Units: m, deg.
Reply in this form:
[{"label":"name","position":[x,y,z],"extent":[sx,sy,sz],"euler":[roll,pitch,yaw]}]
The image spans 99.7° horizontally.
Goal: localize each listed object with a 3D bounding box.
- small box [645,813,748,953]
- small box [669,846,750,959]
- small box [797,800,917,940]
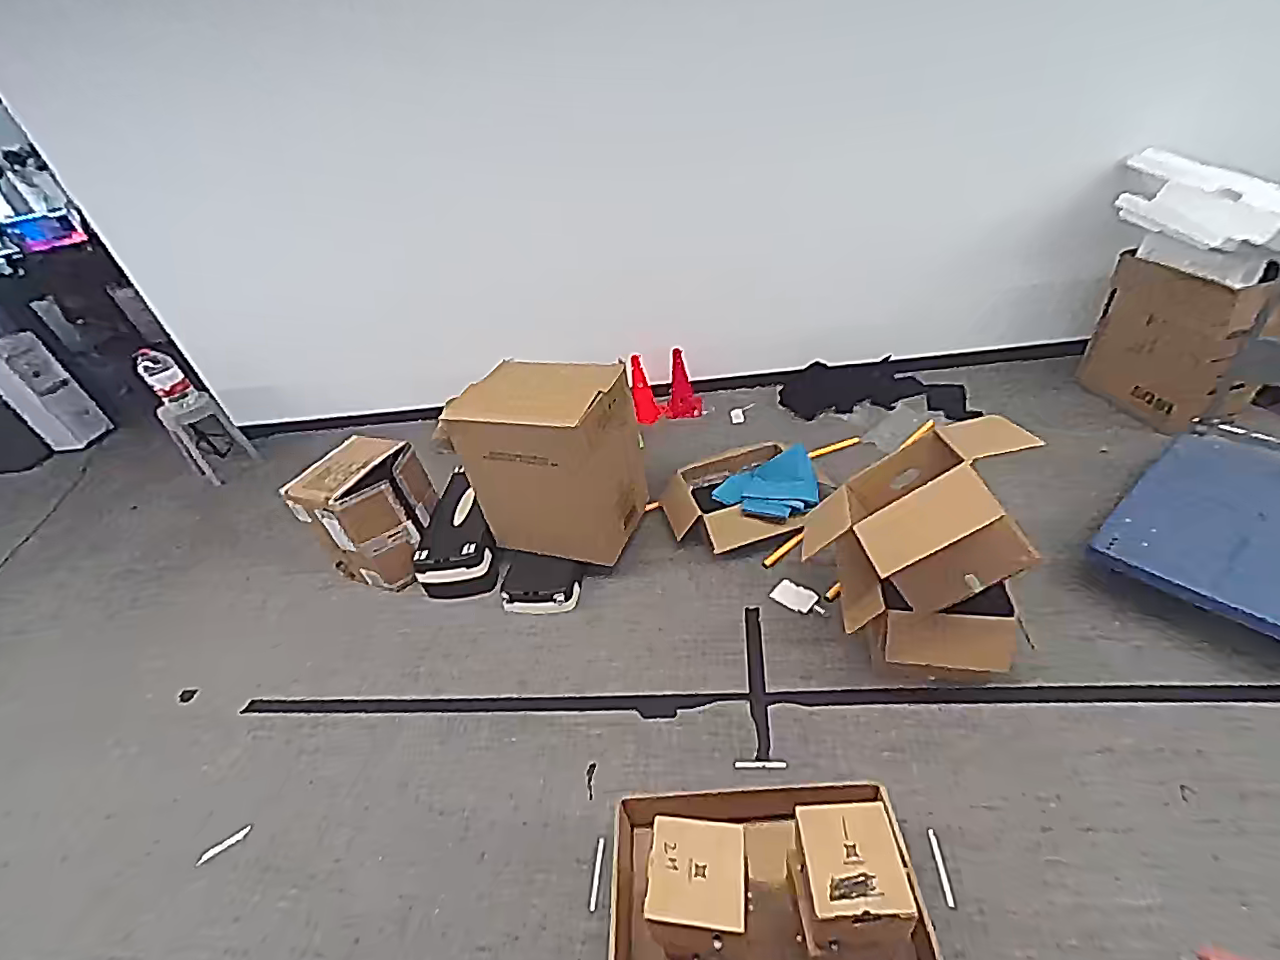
[{"label":"small box","position":[0.117,0.768,1.030],"extent":[0.179,0.176,0.168],"euler":[-1,38,12]},{"label":"small box","position":[0.146,0.887,1.143],"extent":[0.168,0.176,0.179],"euler":[1,38,14]},{"label":"small box","position":[0.393,0.728,1.006],"extent":[0.168,0.176,0.179],"euler":[-7,36,7]}]
